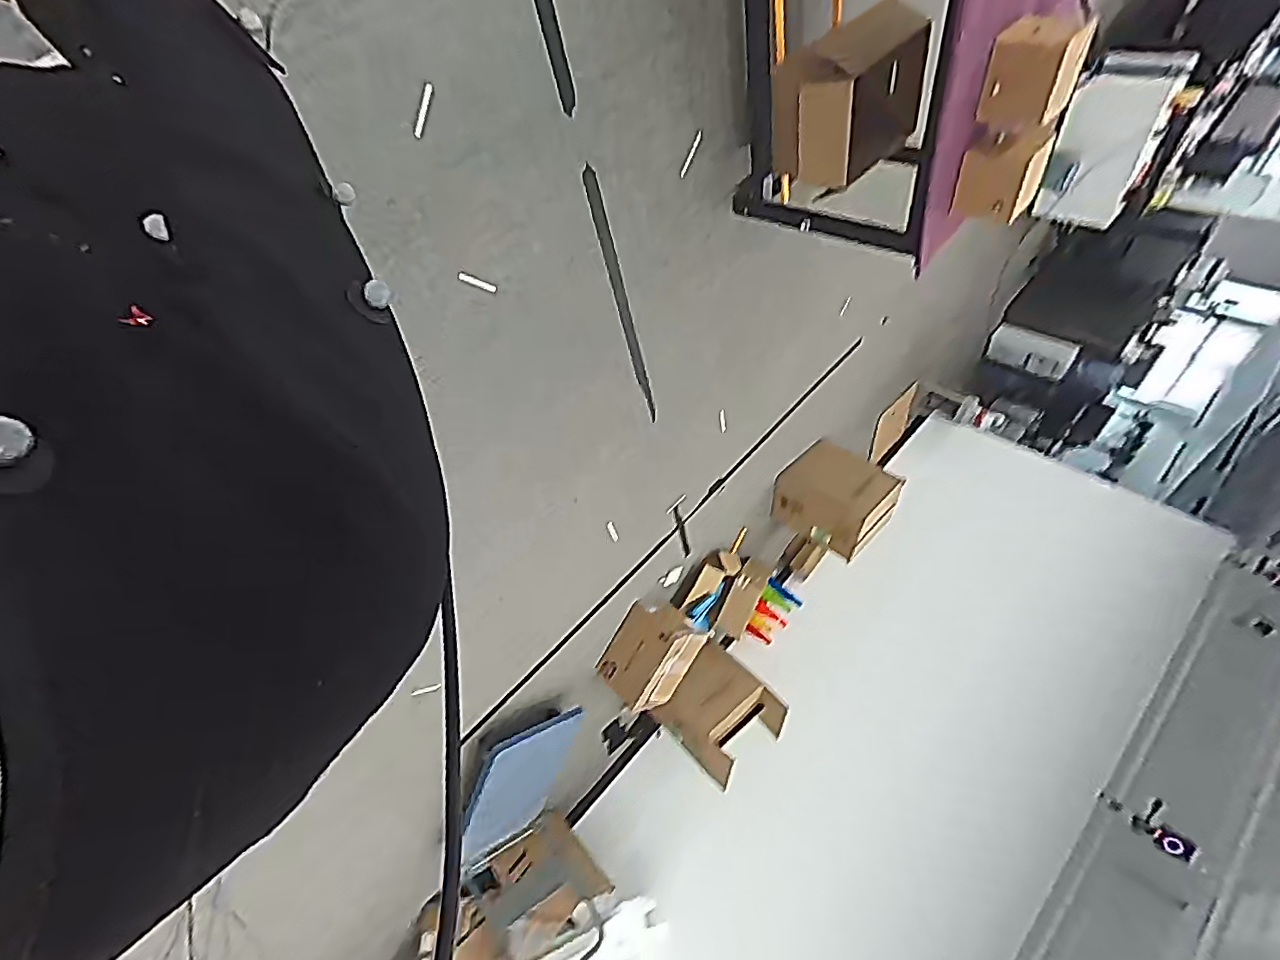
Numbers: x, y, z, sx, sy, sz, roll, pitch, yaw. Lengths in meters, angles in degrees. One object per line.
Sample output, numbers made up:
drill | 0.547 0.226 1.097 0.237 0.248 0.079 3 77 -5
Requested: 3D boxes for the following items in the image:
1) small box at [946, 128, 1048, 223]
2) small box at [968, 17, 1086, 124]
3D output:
small box | 1.007 -0.871 1.543 0.168 0.176 0.179 -44 145 -21
small box | 0.969 -1.027 1.357 0.168 0.176 0.179 -43 144 -20
